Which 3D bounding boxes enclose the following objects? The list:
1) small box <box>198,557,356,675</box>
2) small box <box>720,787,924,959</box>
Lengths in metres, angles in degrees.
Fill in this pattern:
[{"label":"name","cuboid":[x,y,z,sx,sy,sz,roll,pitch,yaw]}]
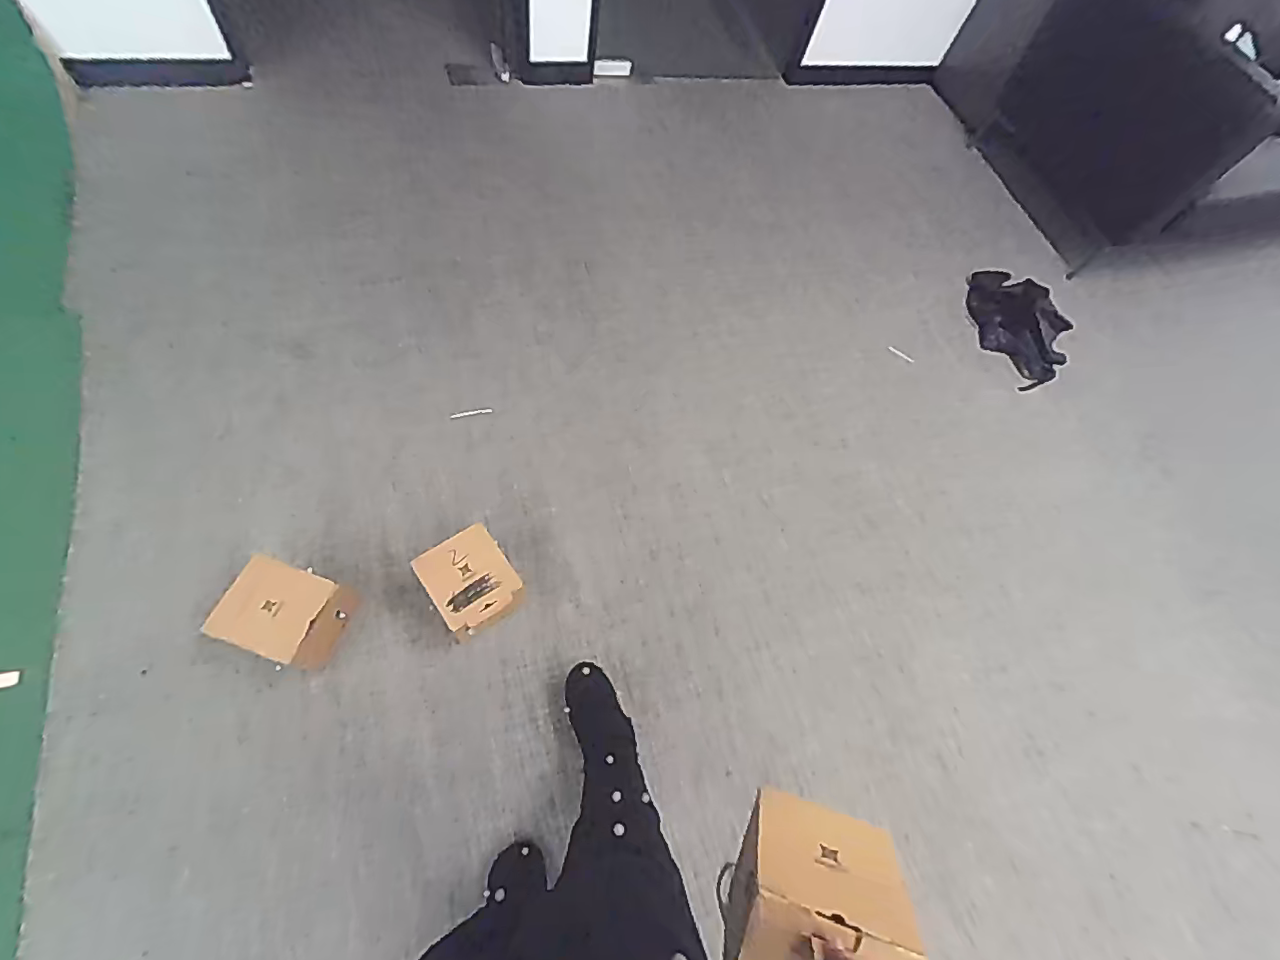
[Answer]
[{"label":"small box","cuboid":[-0.711,0.281,1.088,0.179,0.176,0.168,20,61,0]},{"label":"small box","cuboid":[0.191,0.505,0.616,0.168,0.179,0.176,15,96,11]}]
